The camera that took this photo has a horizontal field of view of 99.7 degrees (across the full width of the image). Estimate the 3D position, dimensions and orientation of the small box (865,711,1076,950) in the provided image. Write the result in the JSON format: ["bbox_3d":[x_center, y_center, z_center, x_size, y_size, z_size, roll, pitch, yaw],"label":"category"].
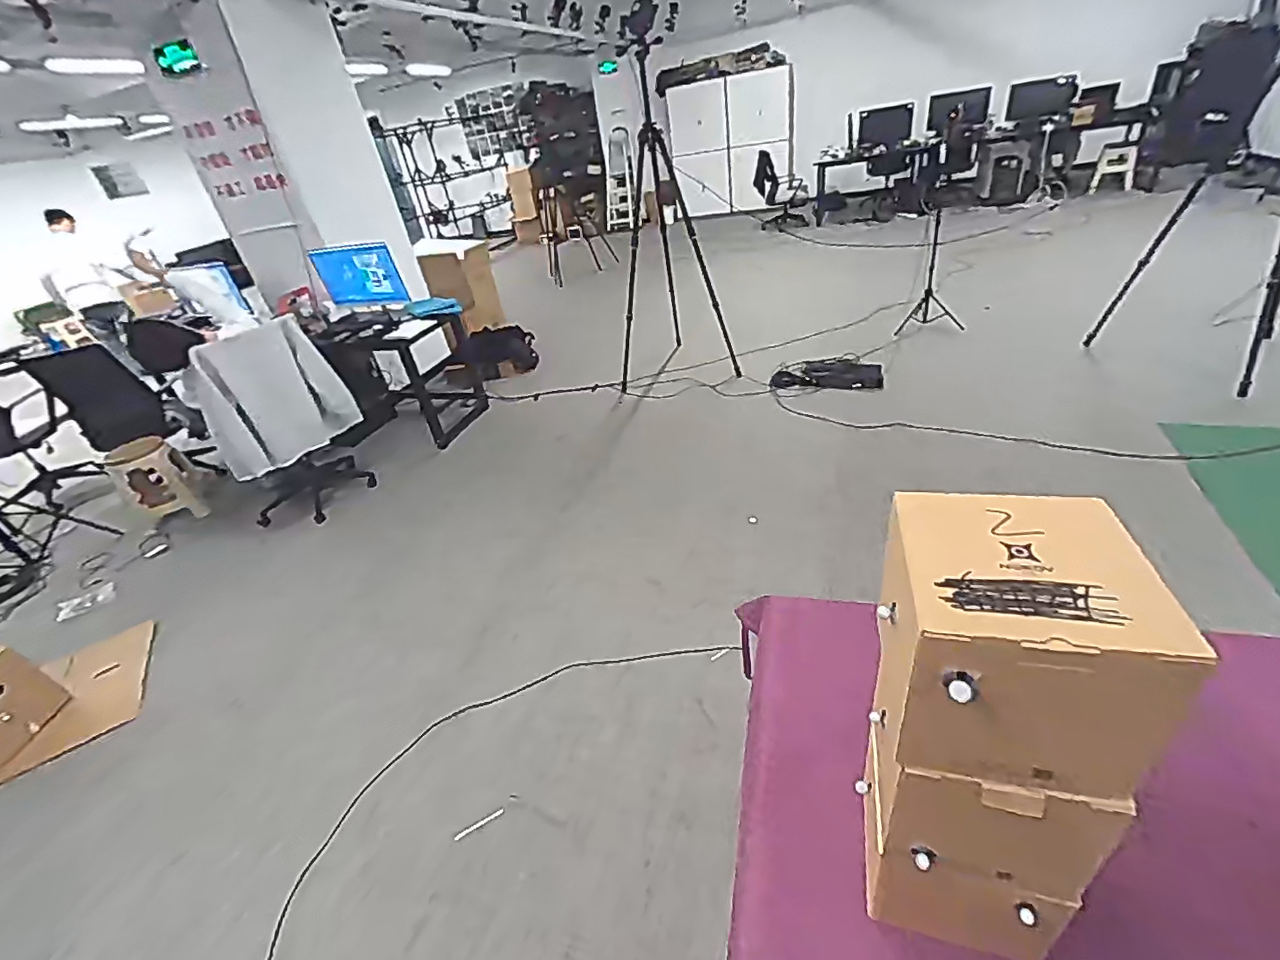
[{"bbox_3d":[0.361,0.404,0.633,0.179,0.176,0.168,2,35,19],"label":"small box"}]

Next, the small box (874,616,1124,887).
[{"bbox_3d":[0.333,0.267,0.547,0.168,0.176,0.179,2,34,19],"label":"small box"}]
